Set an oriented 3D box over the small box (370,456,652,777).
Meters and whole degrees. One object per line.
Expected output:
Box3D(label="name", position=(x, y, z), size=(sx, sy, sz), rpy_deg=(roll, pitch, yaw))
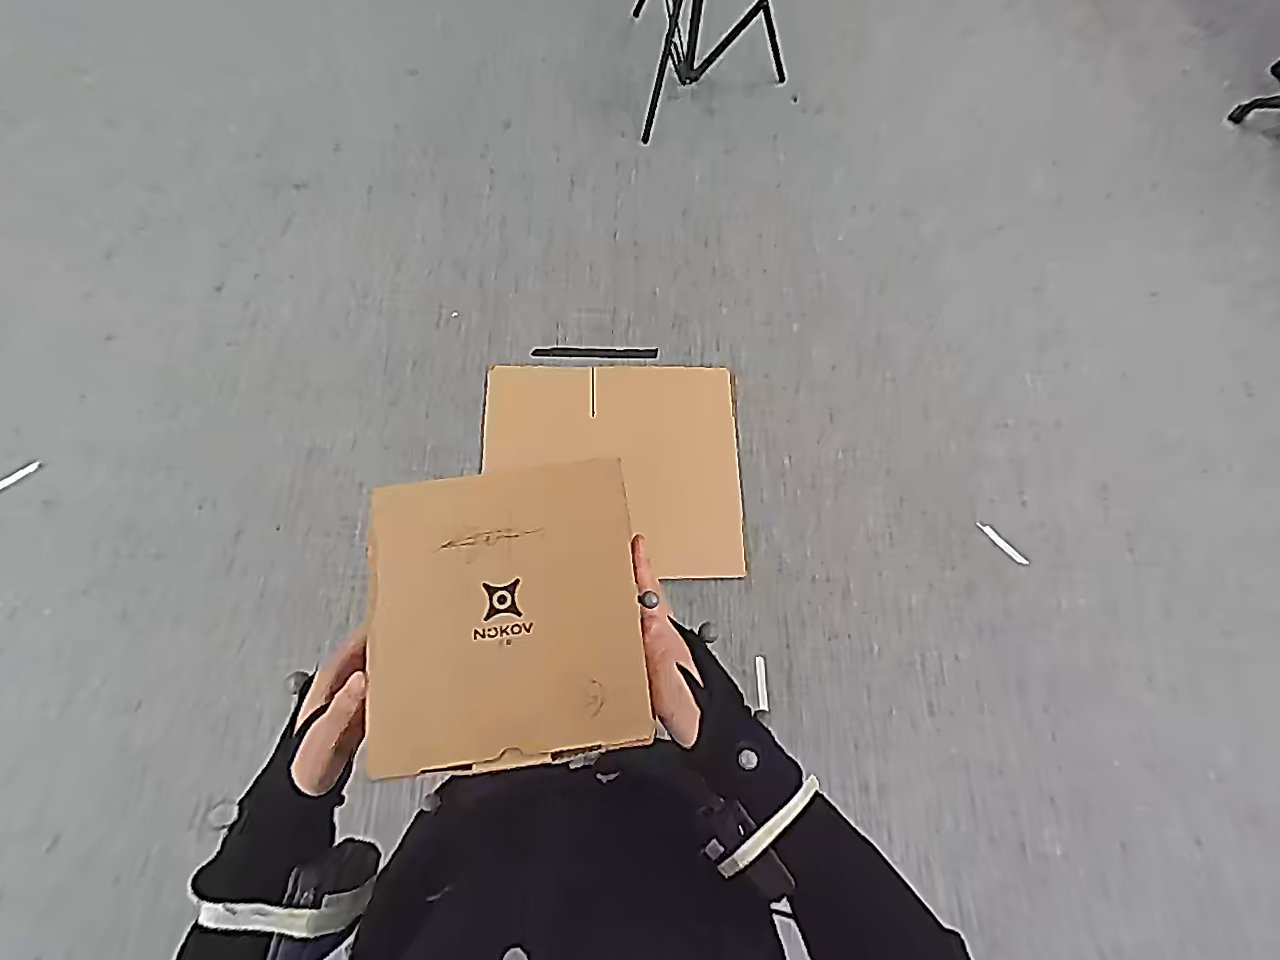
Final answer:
Box3D(label="small box", position=(-0.082, 0.099, 0.408), size=(0.168, 0.176, 0.179), rpy_deg=(-8, 73, -3))
